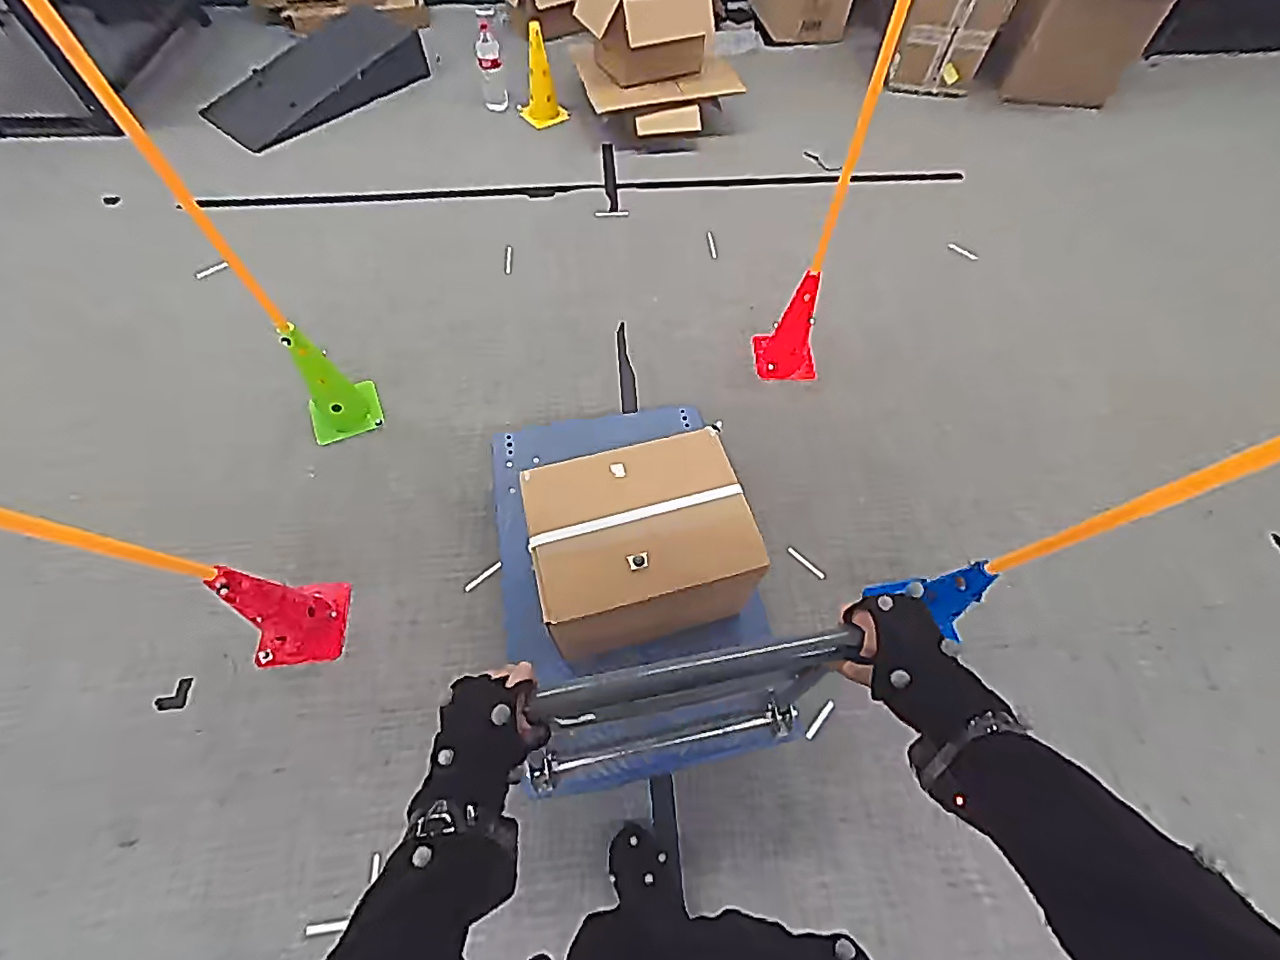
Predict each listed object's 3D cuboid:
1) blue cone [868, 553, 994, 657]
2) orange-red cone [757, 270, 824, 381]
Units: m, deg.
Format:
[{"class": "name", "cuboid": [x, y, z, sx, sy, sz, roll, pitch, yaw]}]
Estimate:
[{"class": "blue cone", "cuboid": [0.713, 0.272, 1.270, 0.193, 0.380, 0.192, -7, 59, -6]}, {"class": "orange-red cone", "cuboid": [0.507, -0.503, 1.702, 0.199, 0.360, 0.198, 2, 60, -1]}]
